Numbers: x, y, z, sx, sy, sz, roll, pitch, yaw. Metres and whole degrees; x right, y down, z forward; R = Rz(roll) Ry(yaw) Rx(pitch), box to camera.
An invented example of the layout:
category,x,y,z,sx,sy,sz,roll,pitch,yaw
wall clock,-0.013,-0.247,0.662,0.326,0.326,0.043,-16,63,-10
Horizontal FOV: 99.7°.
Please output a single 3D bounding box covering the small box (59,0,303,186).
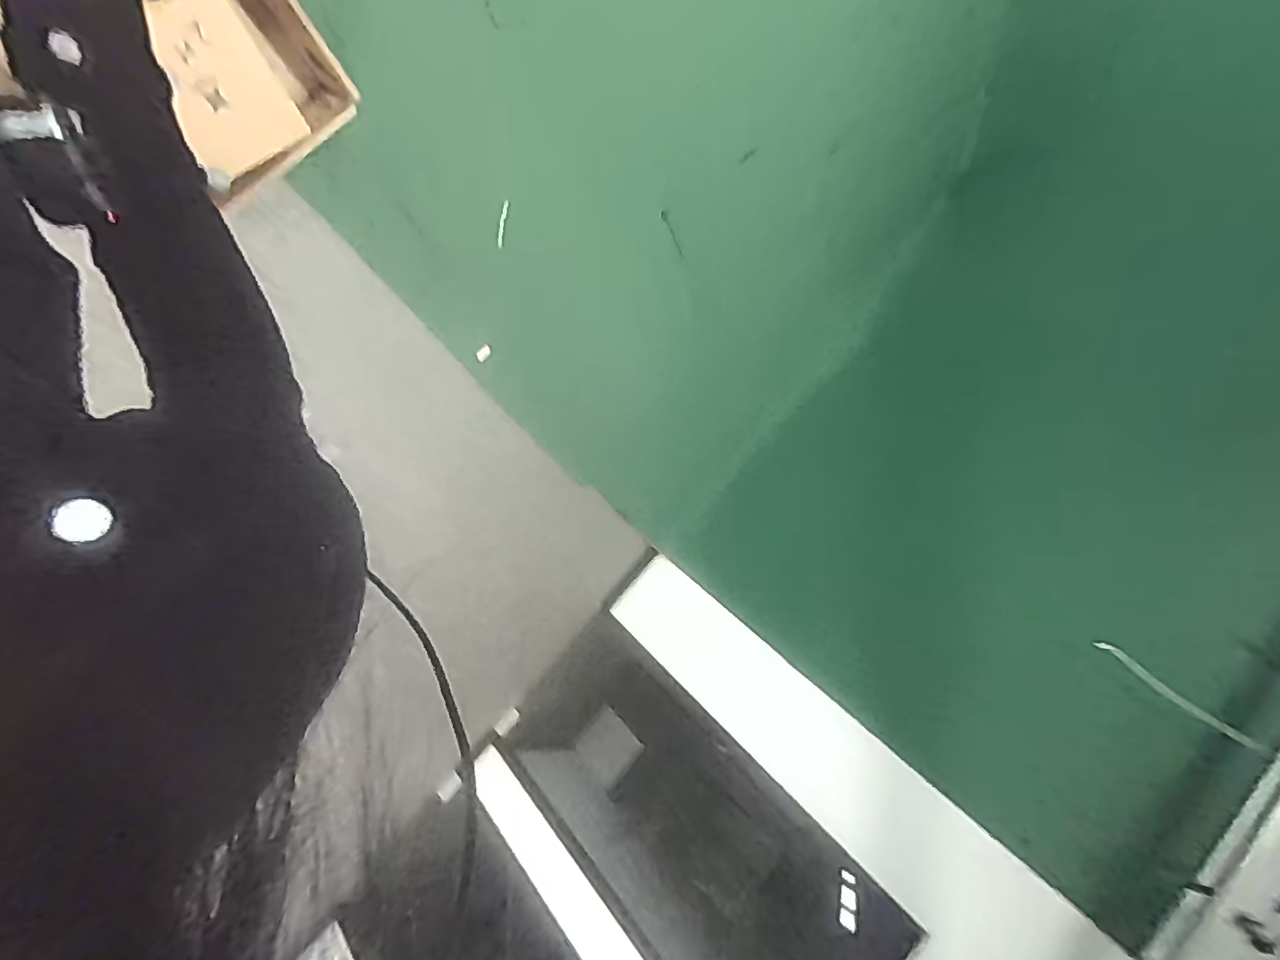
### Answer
category,x,y,z,sx,sy,sz,roll,pitch,yaw
small box,-0.610,-0.542,0.729,0.168,0.176,0.179,-42,149,-15
